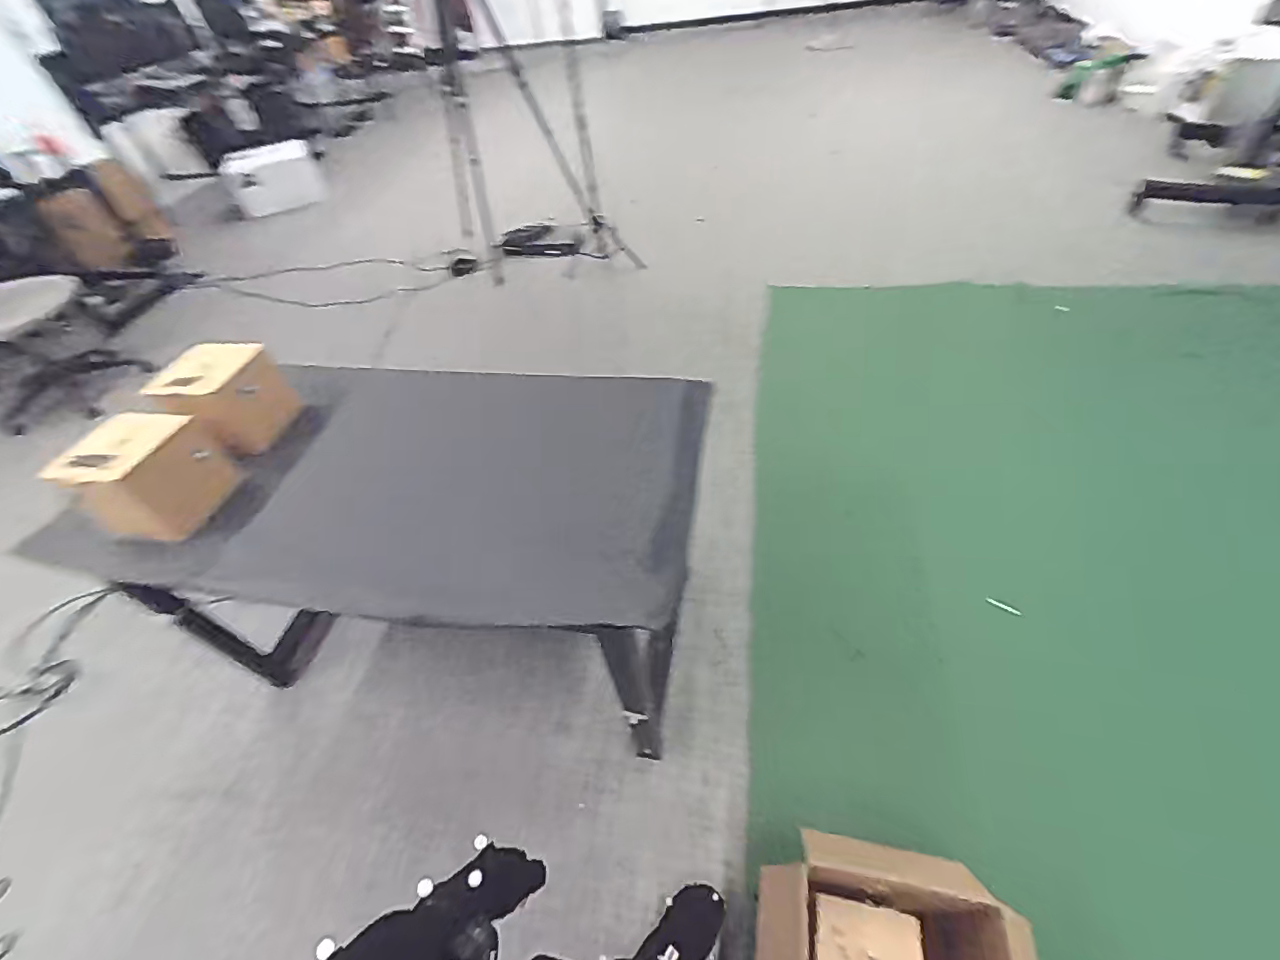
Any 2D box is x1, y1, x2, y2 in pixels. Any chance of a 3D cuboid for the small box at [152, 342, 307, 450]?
[{"bbox_3d":[-0.879,-0.181,1.182,0.168,0.176,0.179,3,48,11],"label":"small box"}]
